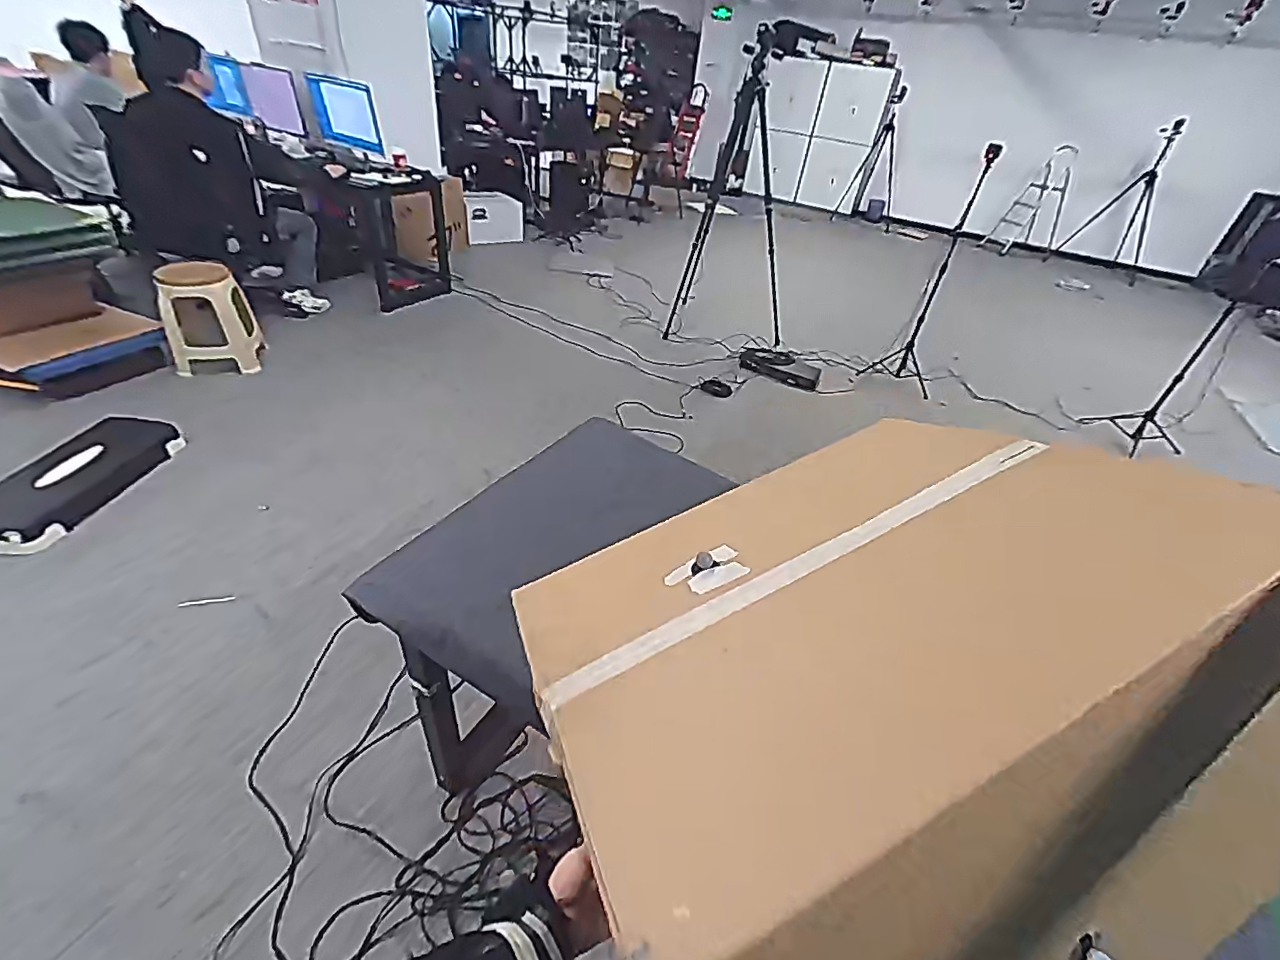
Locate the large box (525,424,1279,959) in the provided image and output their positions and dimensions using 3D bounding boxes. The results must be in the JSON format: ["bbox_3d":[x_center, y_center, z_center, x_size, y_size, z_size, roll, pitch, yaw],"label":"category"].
[{"bbox_3d":[0.178,0.195,0.427,0.408,0.320,0.320,-26,23,-14],"label":"large box"}]
